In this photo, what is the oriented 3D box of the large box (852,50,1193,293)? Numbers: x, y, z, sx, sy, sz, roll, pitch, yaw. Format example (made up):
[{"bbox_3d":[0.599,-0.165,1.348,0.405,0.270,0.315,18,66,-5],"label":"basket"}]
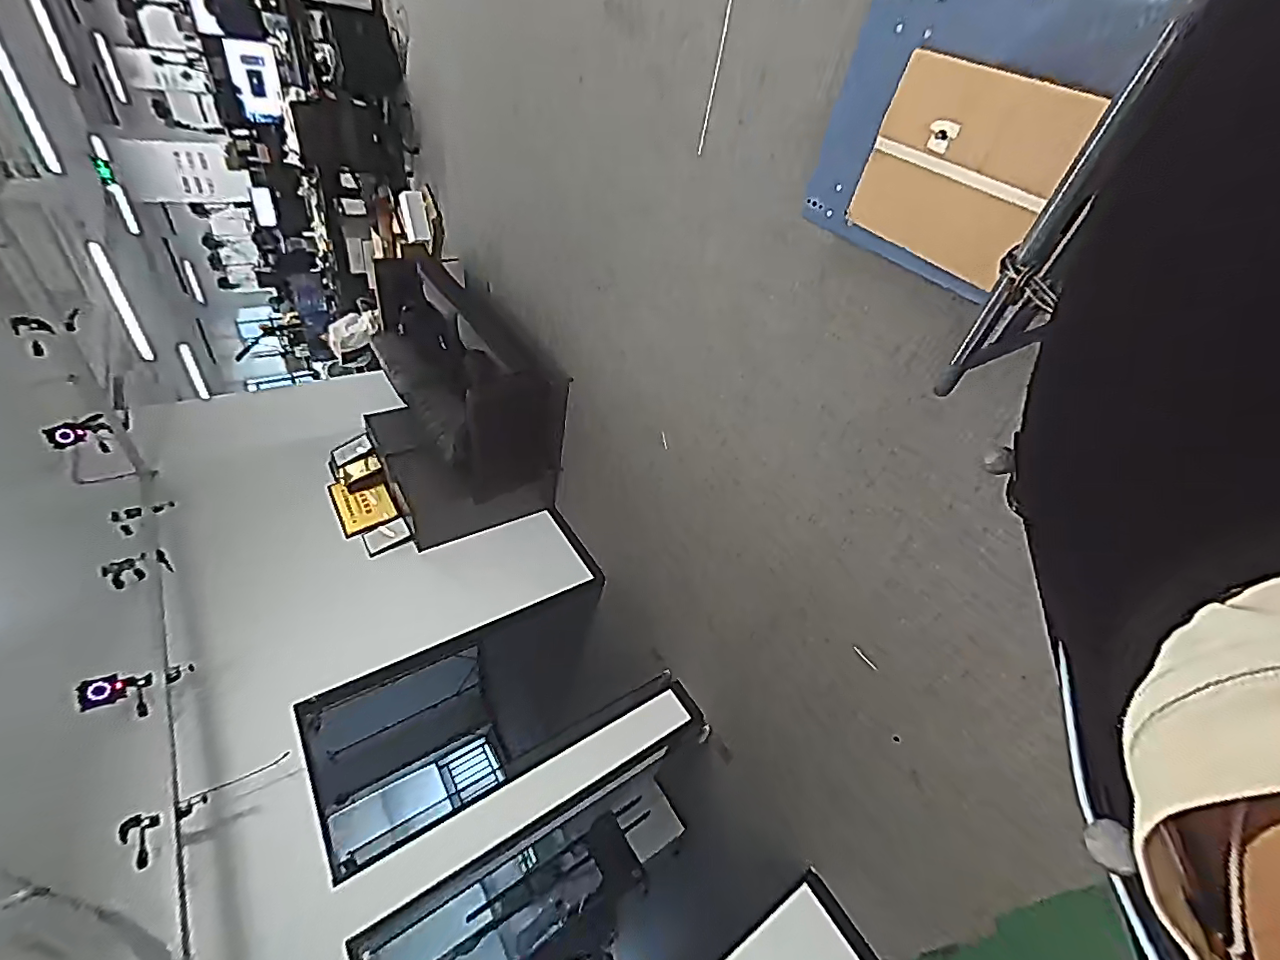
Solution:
[{"bbox_3d":[0.736,-0.622,1.092,0.408,0.320,0.320,50,143,32],"label":"large box"}]
